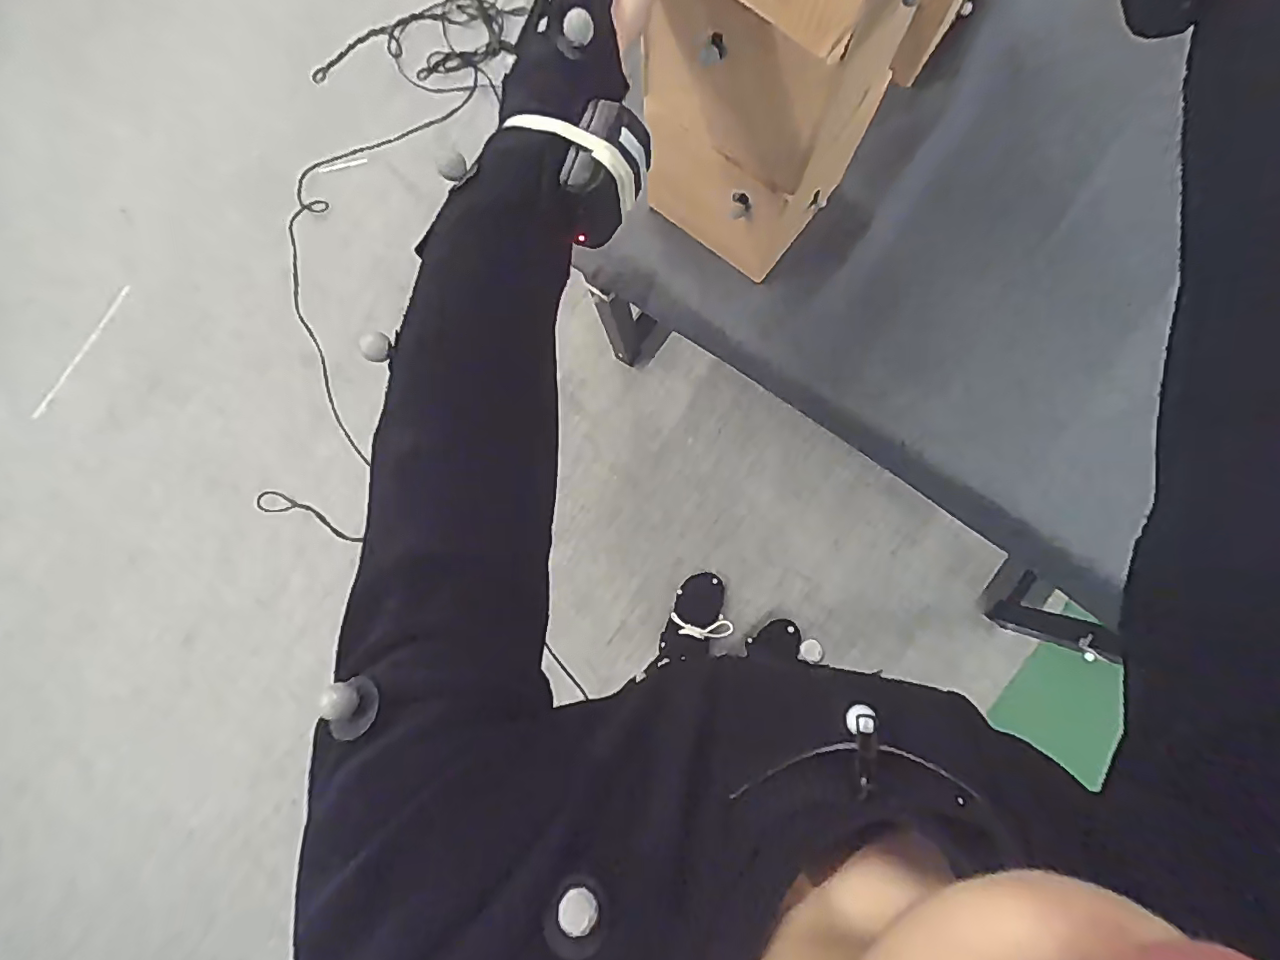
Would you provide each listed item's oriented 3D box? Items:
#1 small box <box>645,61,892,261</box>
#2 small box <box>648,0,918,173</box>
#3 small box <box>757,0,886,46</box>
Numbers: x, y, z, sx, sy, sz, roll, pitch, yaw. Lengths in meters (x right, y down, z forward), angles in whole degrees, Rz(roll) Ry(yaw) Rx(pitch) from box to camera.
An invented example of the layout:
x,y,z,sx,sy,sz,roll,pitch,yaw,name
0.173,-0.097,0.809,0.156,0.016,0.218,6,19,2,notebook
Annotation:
x,y,z,sx,sy,sz,roll,pitch,yaw,name
0.124,-0.371,0.589,0.179,0.176,0.168,38,87,5,small box
0.115,-0.390,0.427,0.179,0.176,0.168,34,88,6,small box
0.112,-0.383,0.262,0.168,0.176,0.179,39,88,5,small box
